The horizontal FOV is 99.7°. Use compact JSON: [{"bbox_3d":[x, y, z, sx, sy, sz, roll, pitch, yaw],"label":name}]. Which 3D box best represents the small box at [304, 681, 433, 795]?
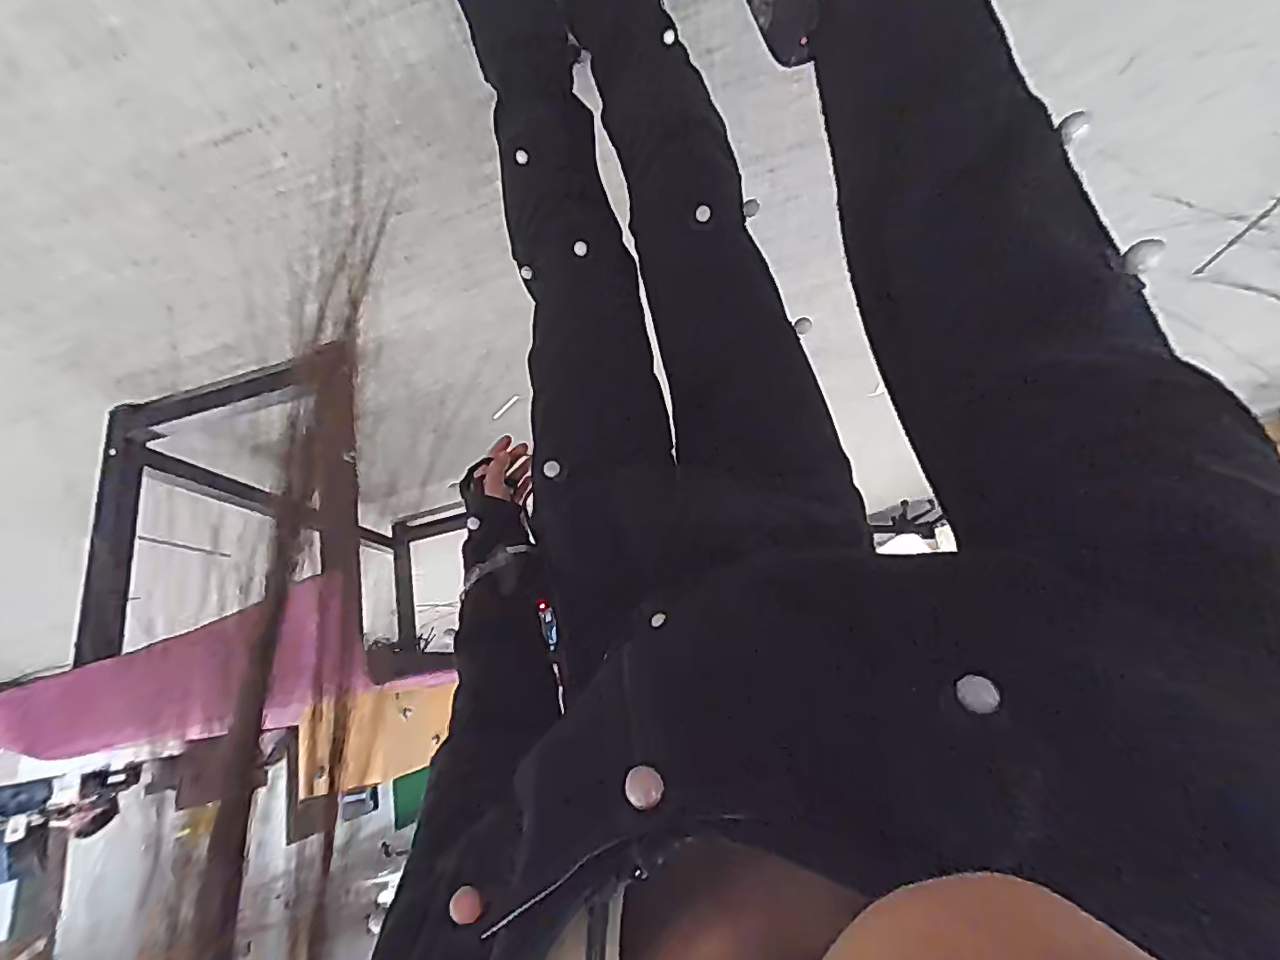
[{"bbox_3d":[-0.549,0.515,1.104,0.179,0.176,0.168,-15,162,6],"label":"small box"}]
